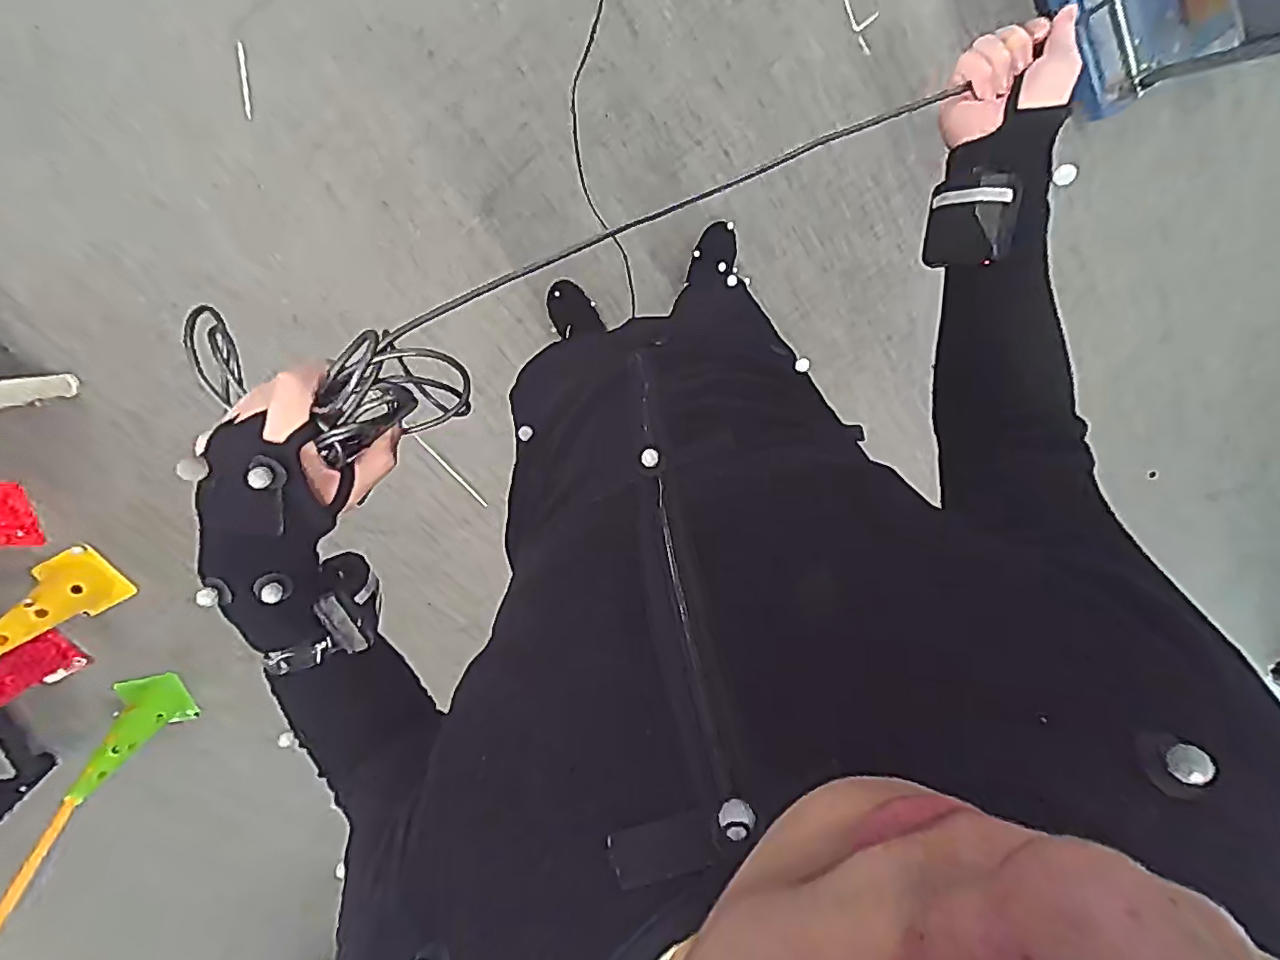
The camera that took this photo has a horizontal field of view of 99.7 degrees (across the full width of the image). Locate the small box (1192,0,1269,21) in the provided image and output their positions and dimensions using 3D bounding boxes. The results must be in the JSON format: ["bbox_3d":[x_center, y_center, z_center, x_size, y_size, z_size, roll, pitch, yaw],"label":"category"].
[{"bbox_3d":[1.258,-1.077,1.073,0.179,0.176,0.168,-35,113,10],"label":"small box"}]
